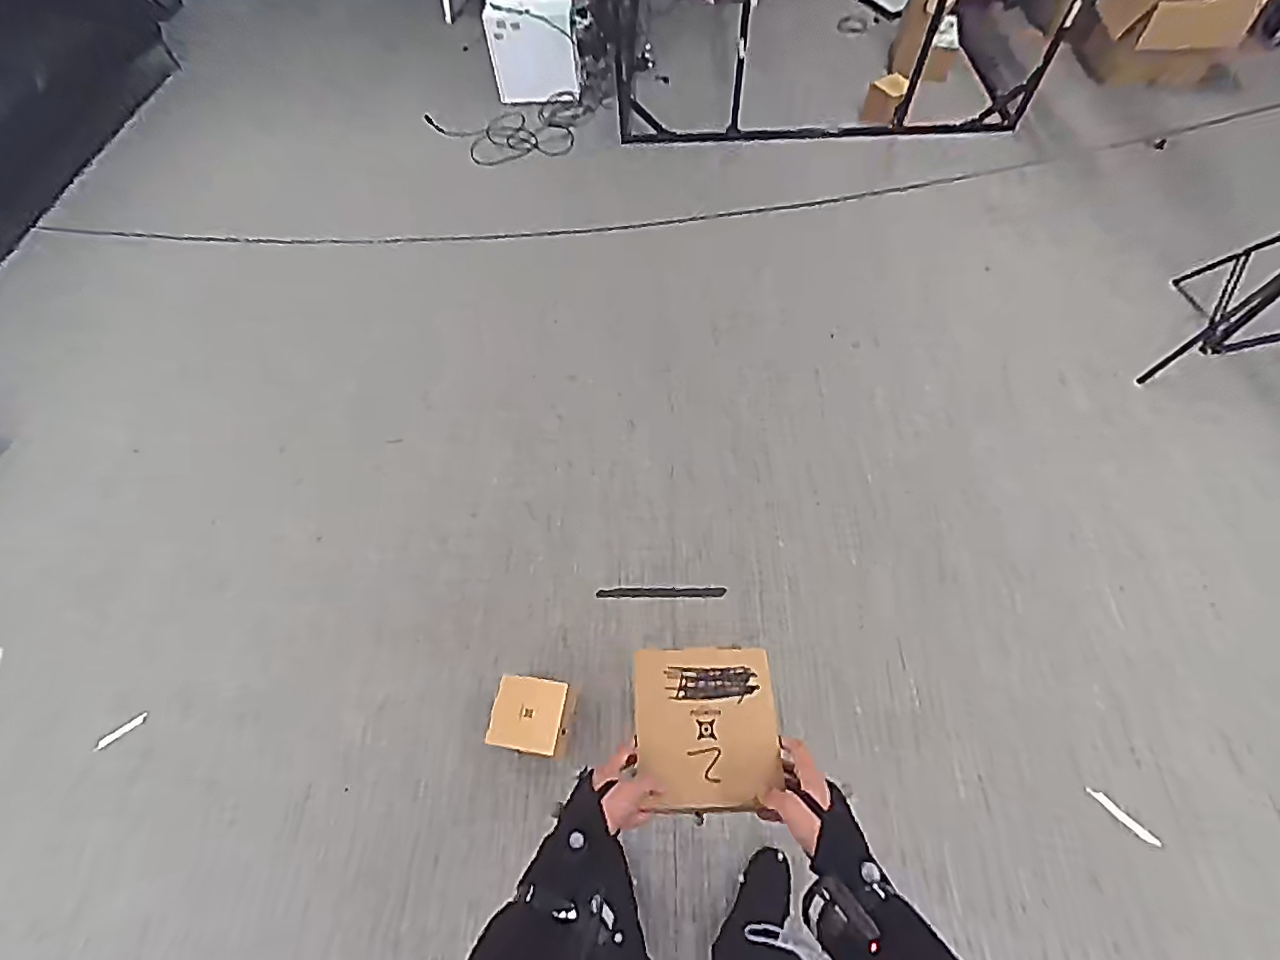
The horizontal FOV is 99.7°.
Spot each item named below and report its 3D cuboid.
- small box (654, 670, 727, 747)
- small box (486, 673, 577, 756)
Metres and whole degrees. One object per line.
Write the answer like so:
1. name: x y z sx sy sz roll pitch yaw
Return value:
1. small box: 0.126 0.590 1.391 0.179 0.176 0.168 -1 61 2
2. small box: -0.270 0.611 1.402 0.179 0.176 0.168 6 61 8
